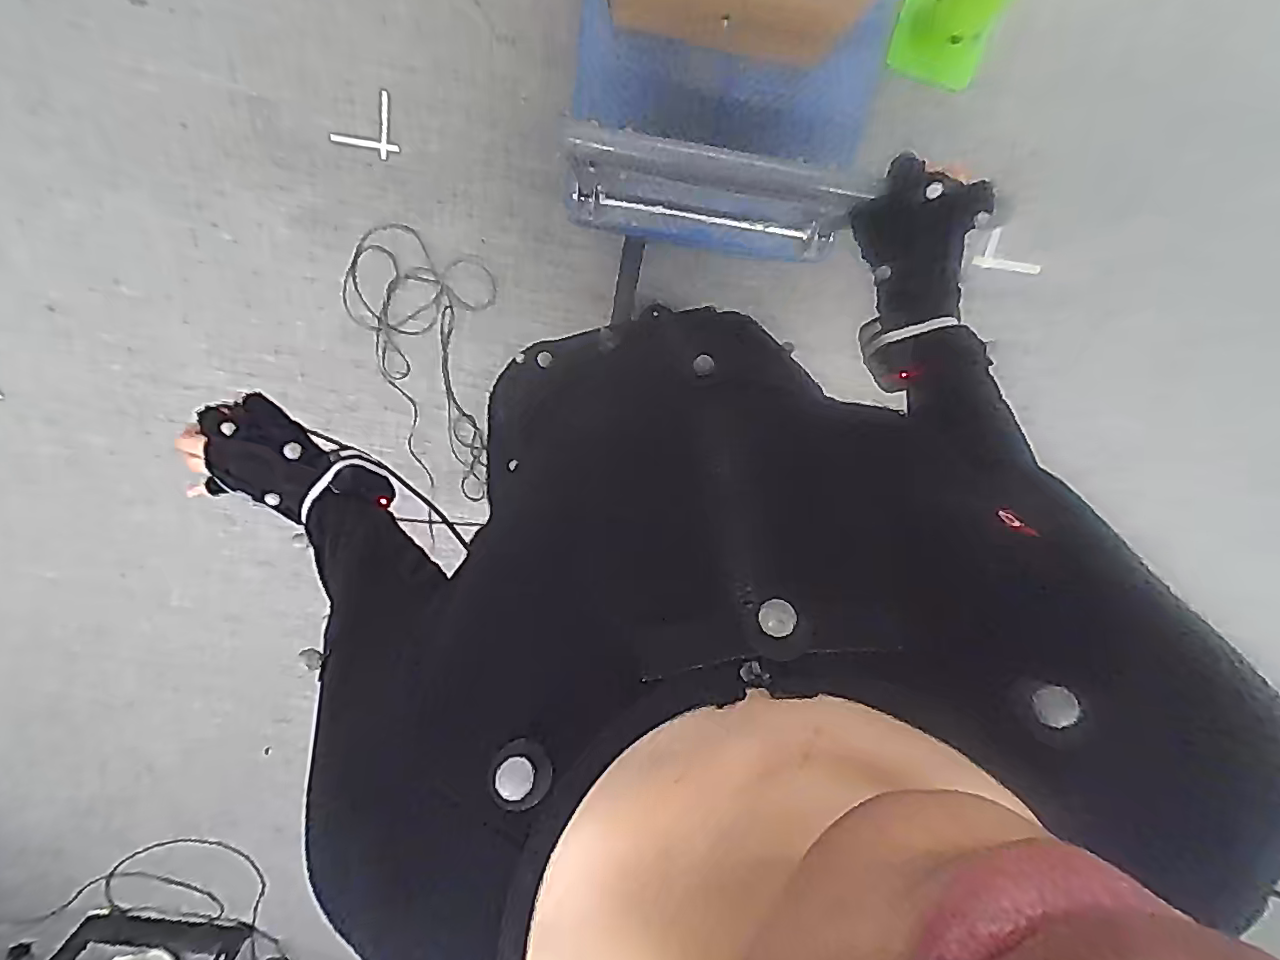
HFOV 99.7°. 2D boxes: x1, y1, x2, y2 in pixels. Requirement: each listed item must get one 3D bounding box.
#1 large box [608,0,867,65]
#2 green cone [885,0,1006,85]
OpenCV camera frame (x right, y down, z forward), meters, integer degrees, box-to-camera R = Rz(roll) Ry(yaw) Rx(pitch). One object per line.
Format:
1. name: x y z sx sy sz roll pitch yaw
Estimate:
1. large box: 0.165 -0.918 0.851 0.408 0.320 0.320 9 110 -4
2. green cone: 0.657 -0.933 1.008 0.202 0.368 0.200 13 109 -7
